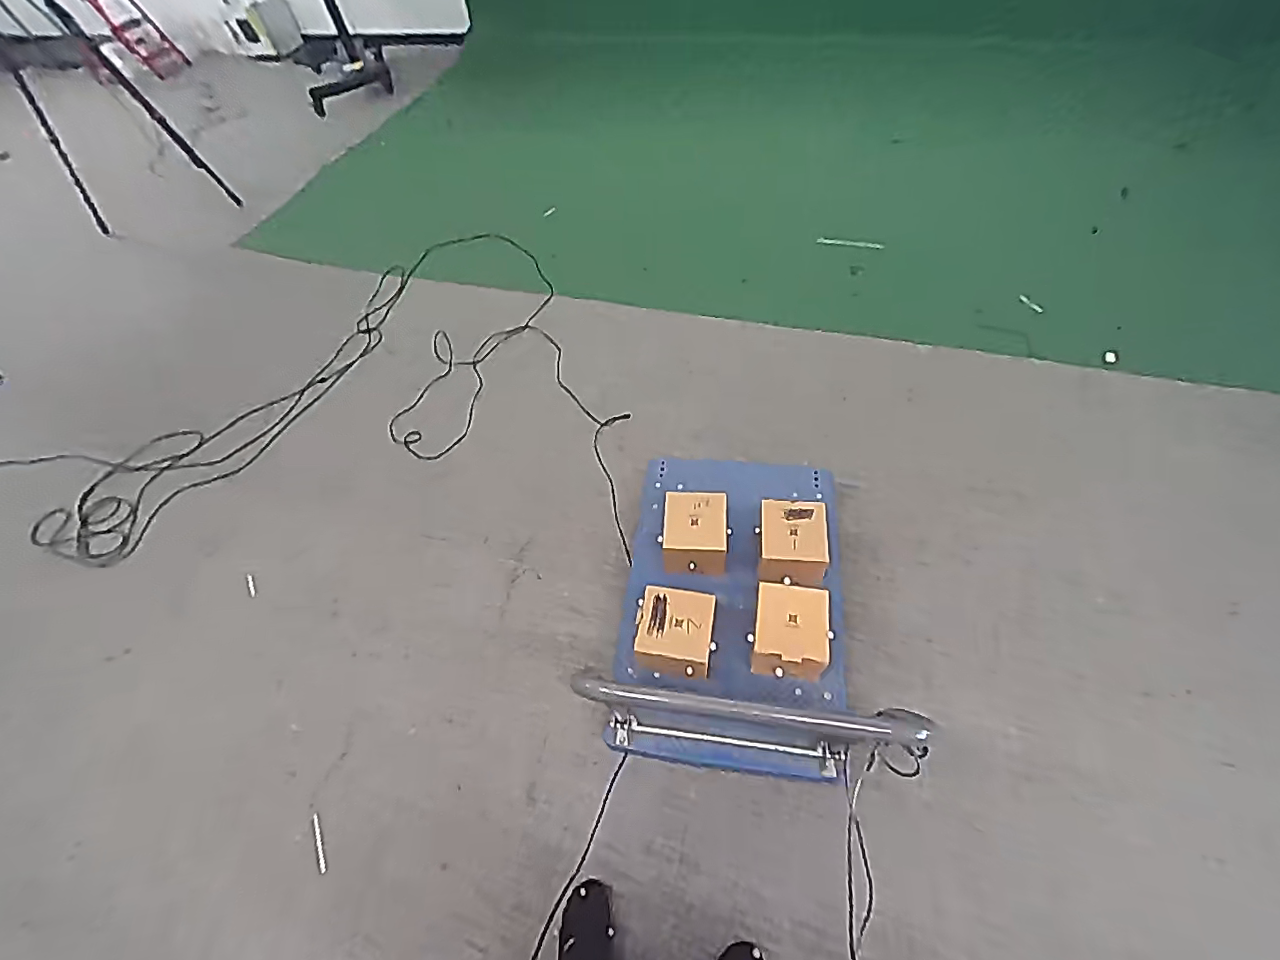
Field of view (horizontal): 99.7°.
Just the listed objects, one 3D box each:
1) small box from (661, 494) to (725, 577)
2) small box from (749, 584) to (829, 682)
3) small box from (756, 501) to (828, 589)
[{"bbox_3d":[0.150,0.157,1.497,0.168,0.176,0.179,2,56,7],"label":"small box"},{"bbox_3d":[0.361,0.377,1.326,0.168,0.176,0.179,6,57,10],"label":"small box"},{"bbox_3d":[0.402,0.177,1.454,0.168,0.176,0.179,2,57,9],"label":"small box"}]
